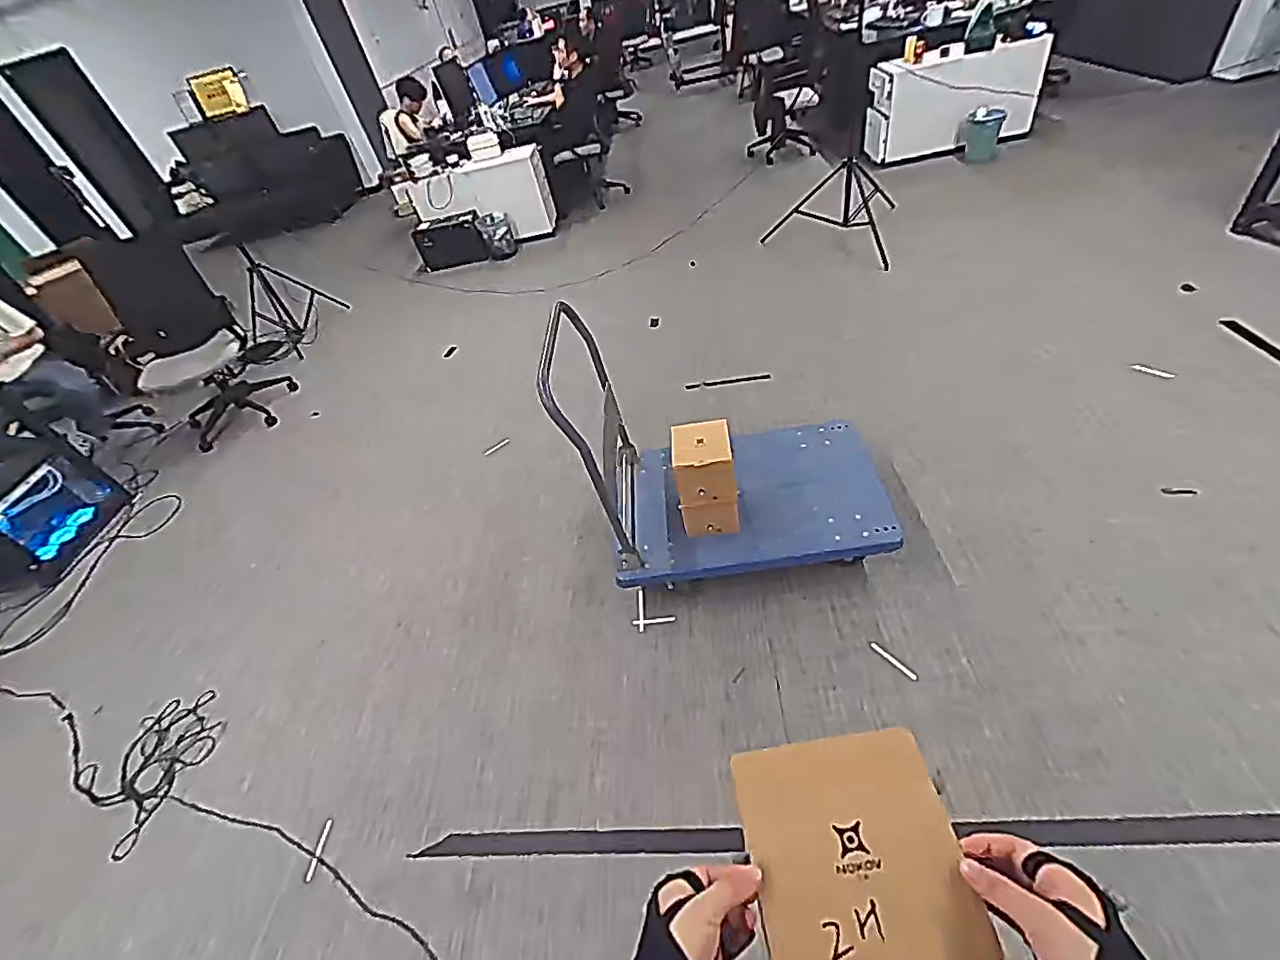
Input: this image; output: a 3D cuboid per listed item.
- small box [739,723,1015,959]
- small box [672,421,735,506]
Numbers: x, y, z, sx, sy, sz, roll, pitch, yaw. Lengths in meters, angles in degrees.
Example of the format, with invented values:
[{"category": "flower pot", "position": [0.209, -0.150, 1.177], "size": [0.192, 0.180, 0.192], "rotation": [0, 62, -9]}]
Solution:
[{"category": "small box", "position": [0.188, 0.347, 0.491], "size": [0.168, 0.176, 0.179], "rotation": [-11, 48, 4]}, {"category": "small box", "position": [0.185, -0.047, 1.580], "size": [0.168, 0.176, 0.179], "rotation": [-7, 45, 8]}]
